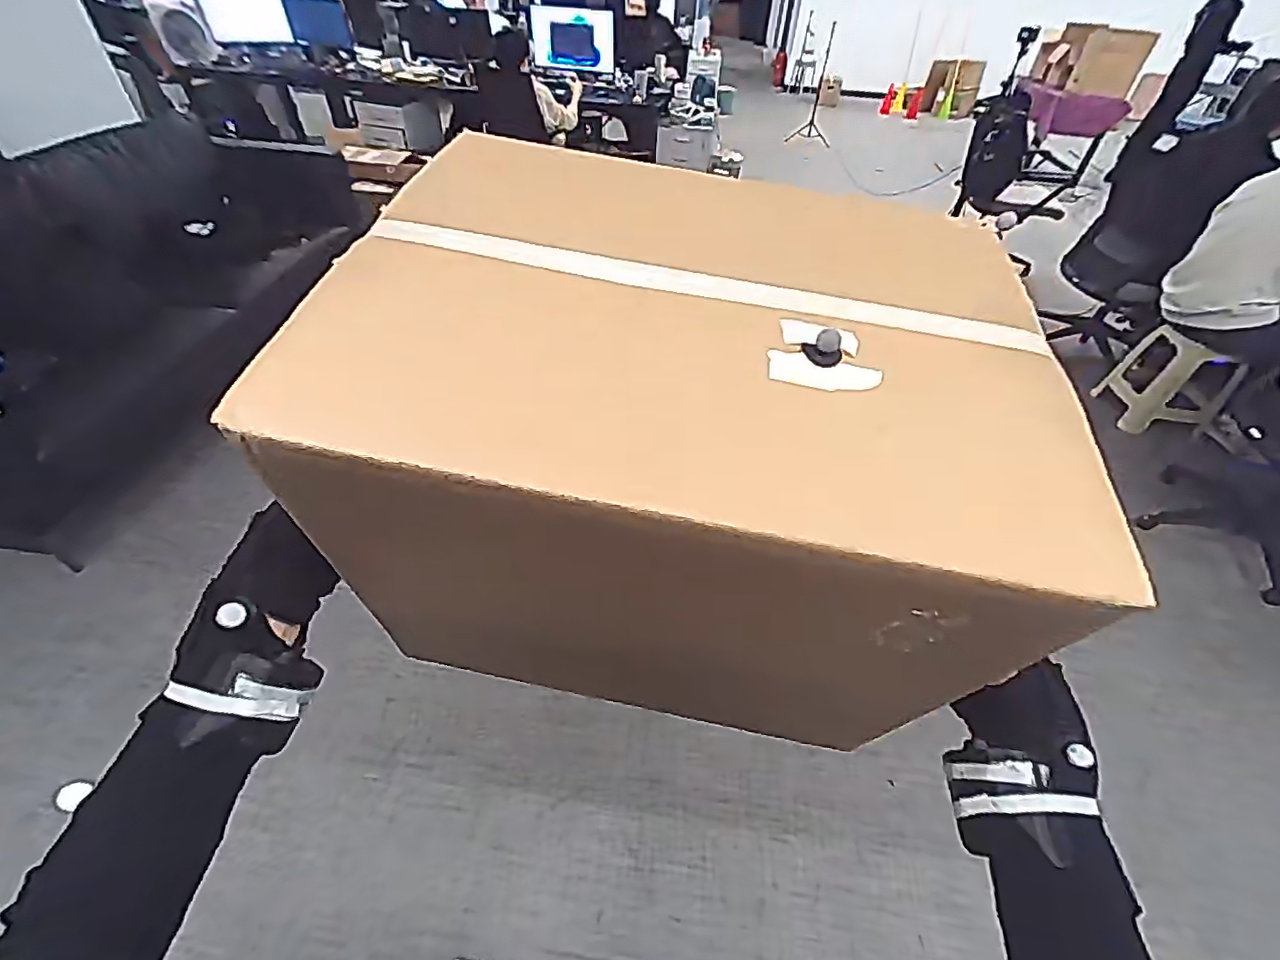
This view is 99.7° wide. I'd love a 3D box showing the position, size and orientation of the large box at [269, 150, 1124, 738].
[{"bbox_3d":[0.031,-0.016,0.450,0.408,0.320,0.320,12,54,2],"label":"large box"}]
